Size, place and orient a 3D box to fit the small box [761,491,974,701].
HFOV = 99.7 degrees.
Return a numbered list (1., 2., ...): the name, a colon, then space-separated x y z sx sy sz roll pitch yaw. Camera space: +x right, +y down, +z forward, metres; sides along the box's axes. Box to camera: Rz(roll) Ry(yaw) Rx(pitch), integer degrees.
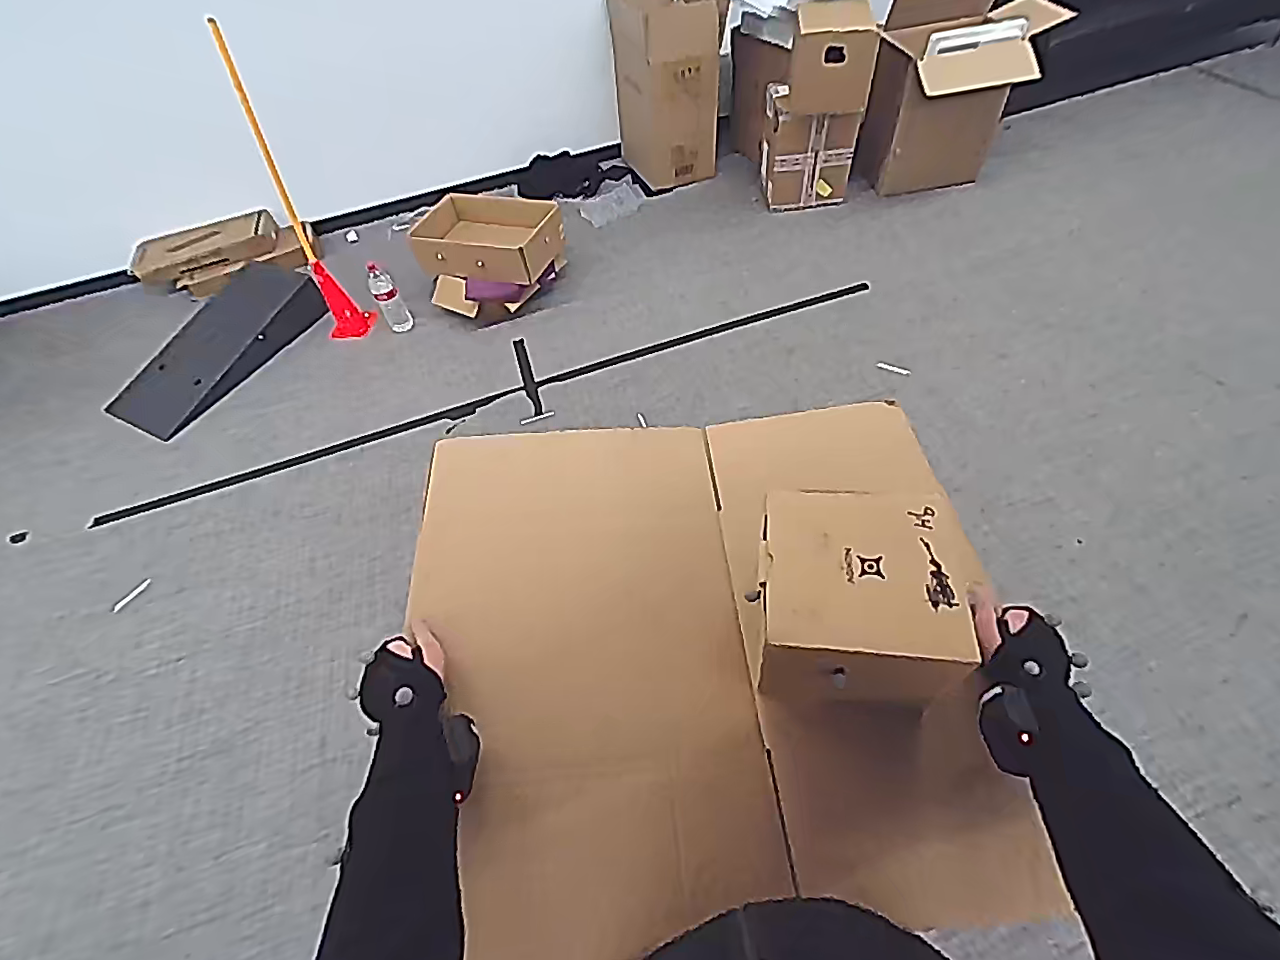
1. small box: 0.220 0.127 0.576 0.179 0.176 0.168 1 56 12
